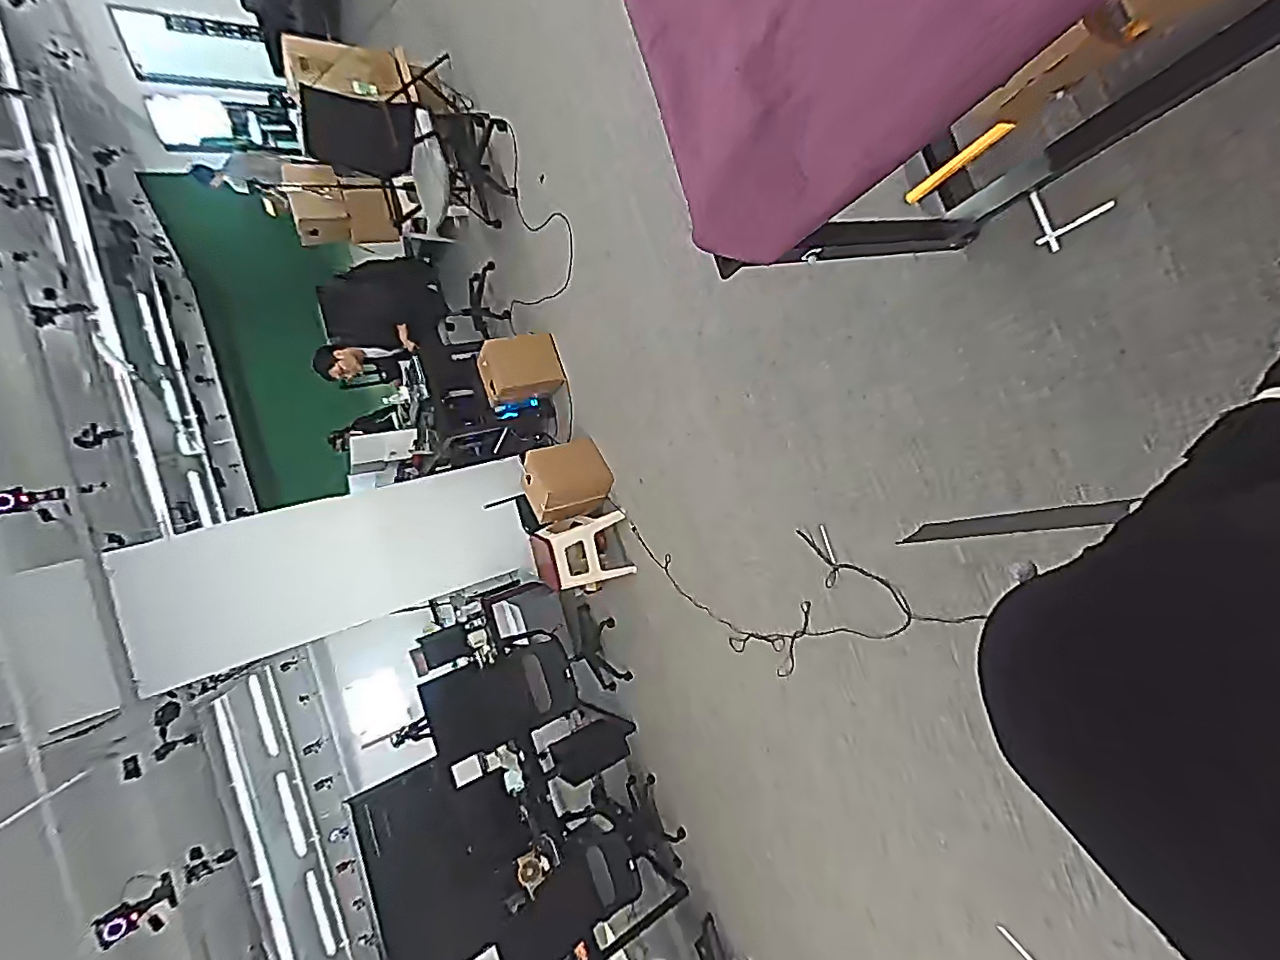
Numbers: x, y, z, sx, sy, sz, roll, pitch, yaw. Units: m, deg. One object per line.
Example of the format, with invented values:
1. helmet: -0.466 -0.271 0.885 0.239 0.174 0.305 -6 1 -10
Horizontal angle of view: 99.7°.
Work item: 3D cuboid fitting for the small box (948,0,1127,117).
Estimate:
1. small box: 0.672 -0.752 0.918 0.168 0.176 0.179 -24 87 60
